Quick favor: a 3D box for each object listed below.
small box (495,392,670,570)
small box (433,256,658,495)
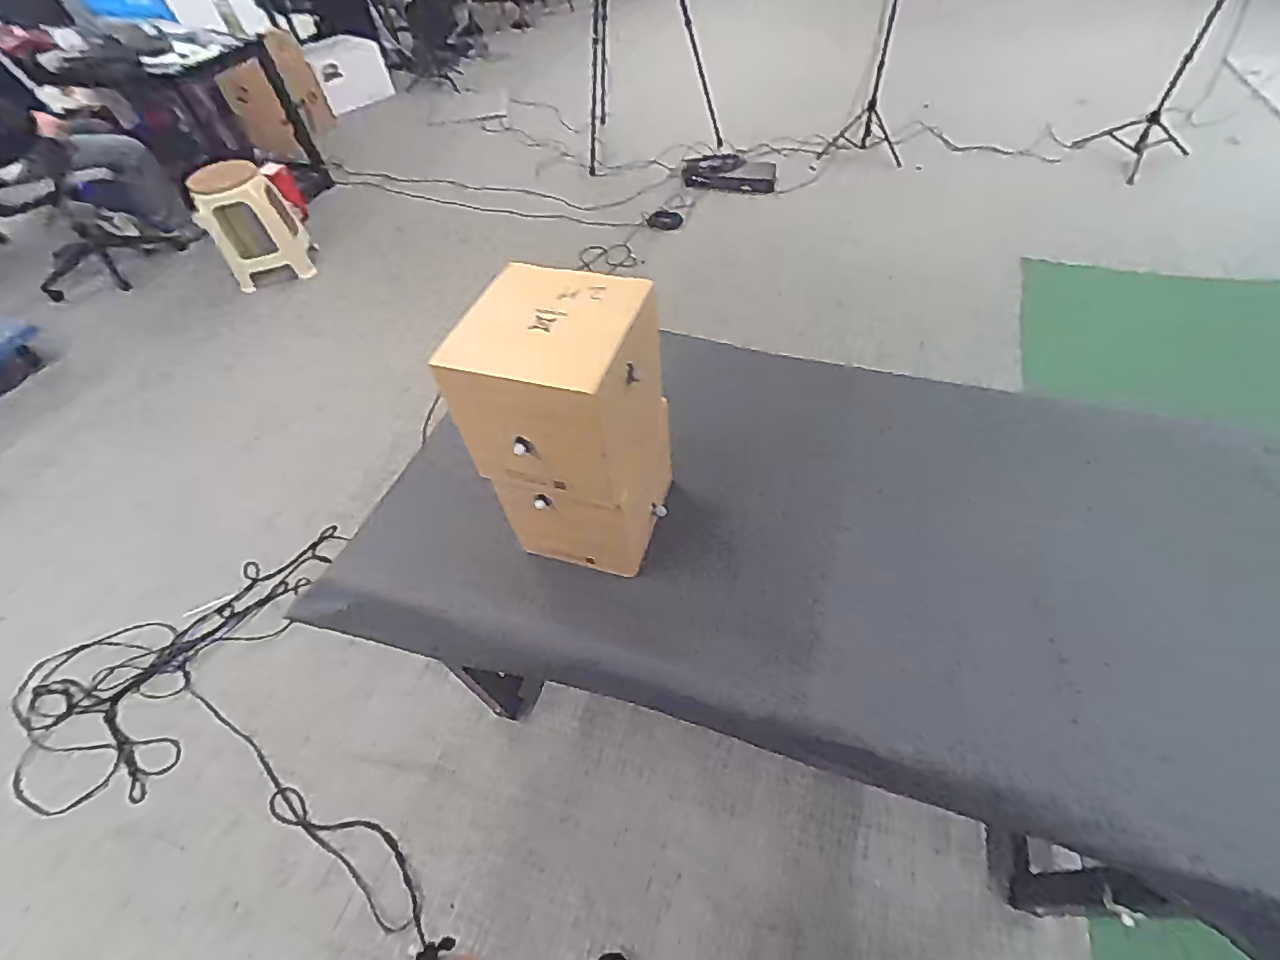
[{"bbox_3d":[-0.062,-0.011,0.711,0.168,0.176,0.179,12,54,14],"label":"small box"},{"bbox_3d":[-0.080,-0.109,0.579,0.168,0.176,0.179,14,54,13],"label":"small box"}]
